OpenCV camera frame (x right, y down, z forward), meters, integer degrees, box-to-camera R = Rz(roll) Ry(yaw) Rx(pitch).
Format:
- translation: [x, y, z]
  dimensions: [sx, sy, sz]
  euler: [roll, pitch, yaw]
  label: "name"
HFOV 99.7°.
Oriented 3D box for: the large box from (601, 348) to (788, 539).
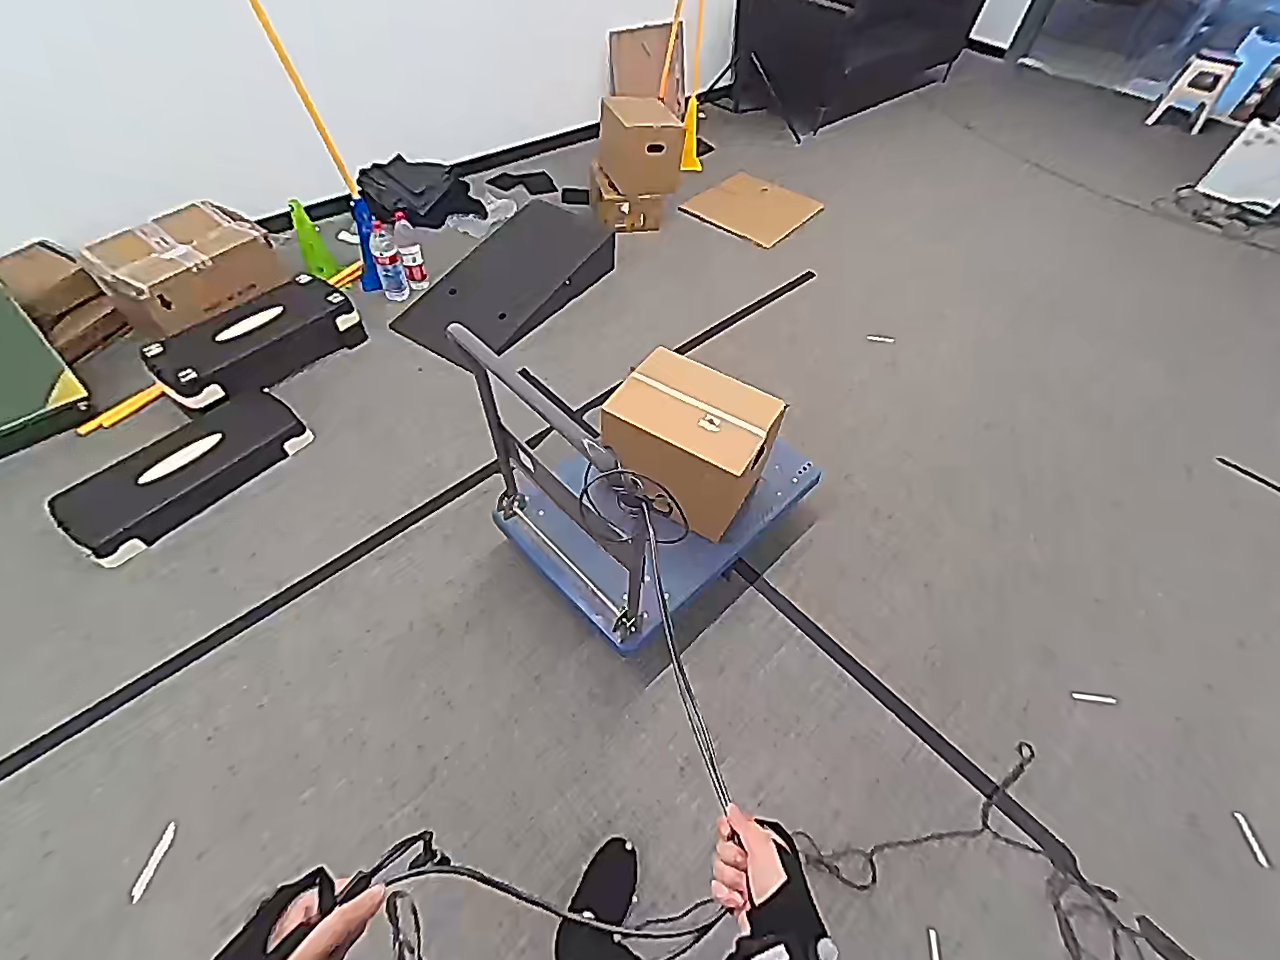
- translation: [0.138, -0.104, 1.532]
  dimensions: [0.408, 0.320, 0.320]
  euler: [28, 56, 15]
  label: "large box"
